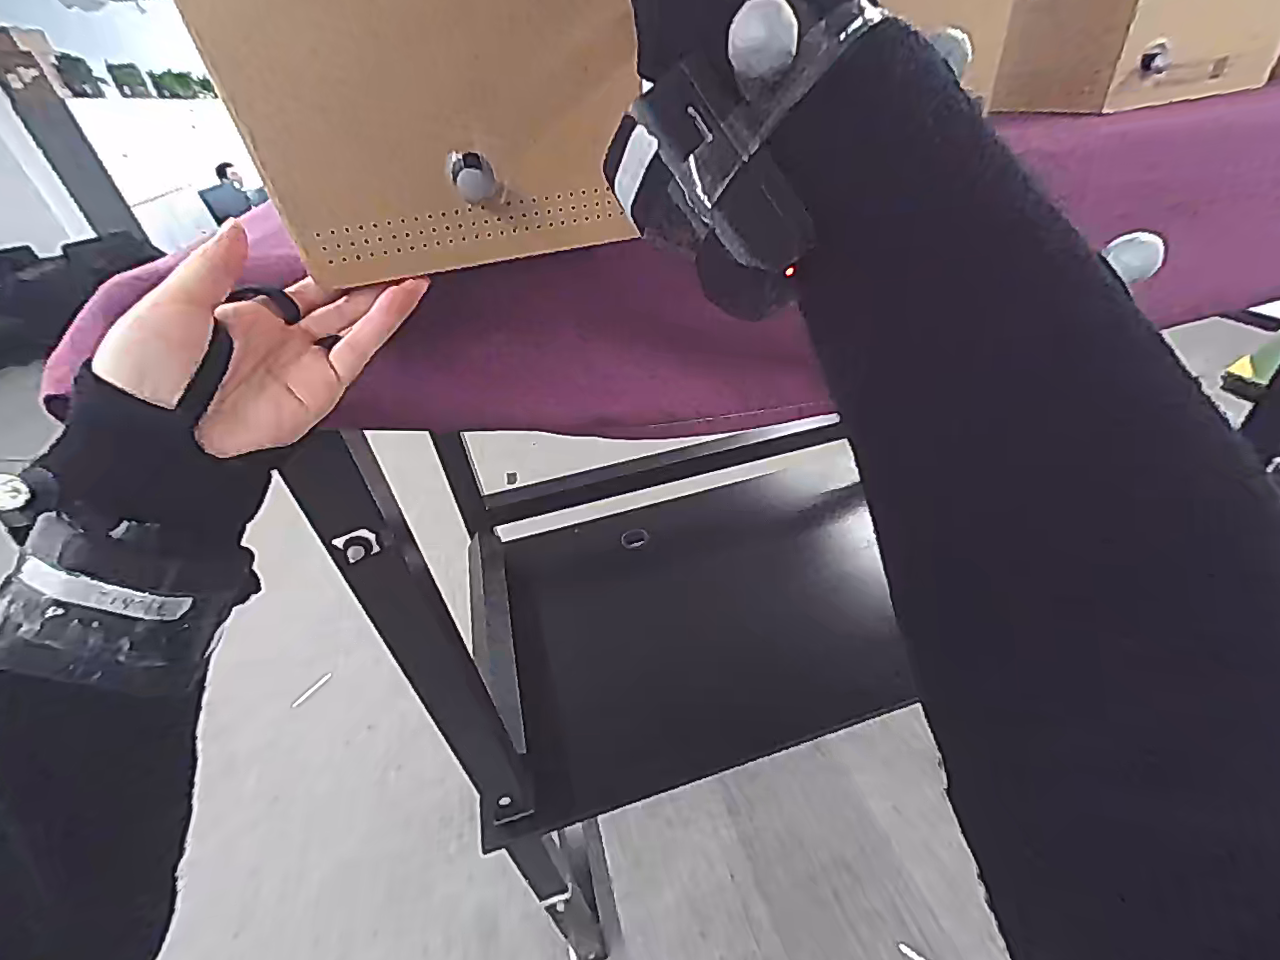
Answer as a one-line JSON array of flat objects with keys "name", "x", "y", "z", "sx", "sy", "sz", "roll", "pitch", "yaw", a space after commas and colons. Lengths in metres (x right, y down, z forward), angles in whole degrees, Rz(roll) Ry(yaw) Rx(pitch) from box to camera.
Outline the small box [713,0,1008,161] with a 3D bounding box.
[{"name": "small box", "x": 0.161, "y": -0.361, "z": 0.423, "sx": 0.179, "sy": 0.176, "sz": 0.168, "roll": -12, "pitch": 37, "yaw": -6}]

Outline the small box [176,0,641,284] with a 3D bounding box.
[{"name": "small box", "x": -0.101, "y": -0.221, "z": 0.275, "sx": 0.179, "sy": 0.176, "sz": 0.168, "roll": -14, "pitch": 45, "yaw": -11}]

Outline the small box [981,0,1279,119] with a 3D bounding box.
[{"name": "small box", "x": 0.412, "y": -0.415, "z": 0.454, "sx": 0.168, "sy": 0.176, "sz": 0.179, "roll": -14, "pitch": 36, "yaw": -9}]
